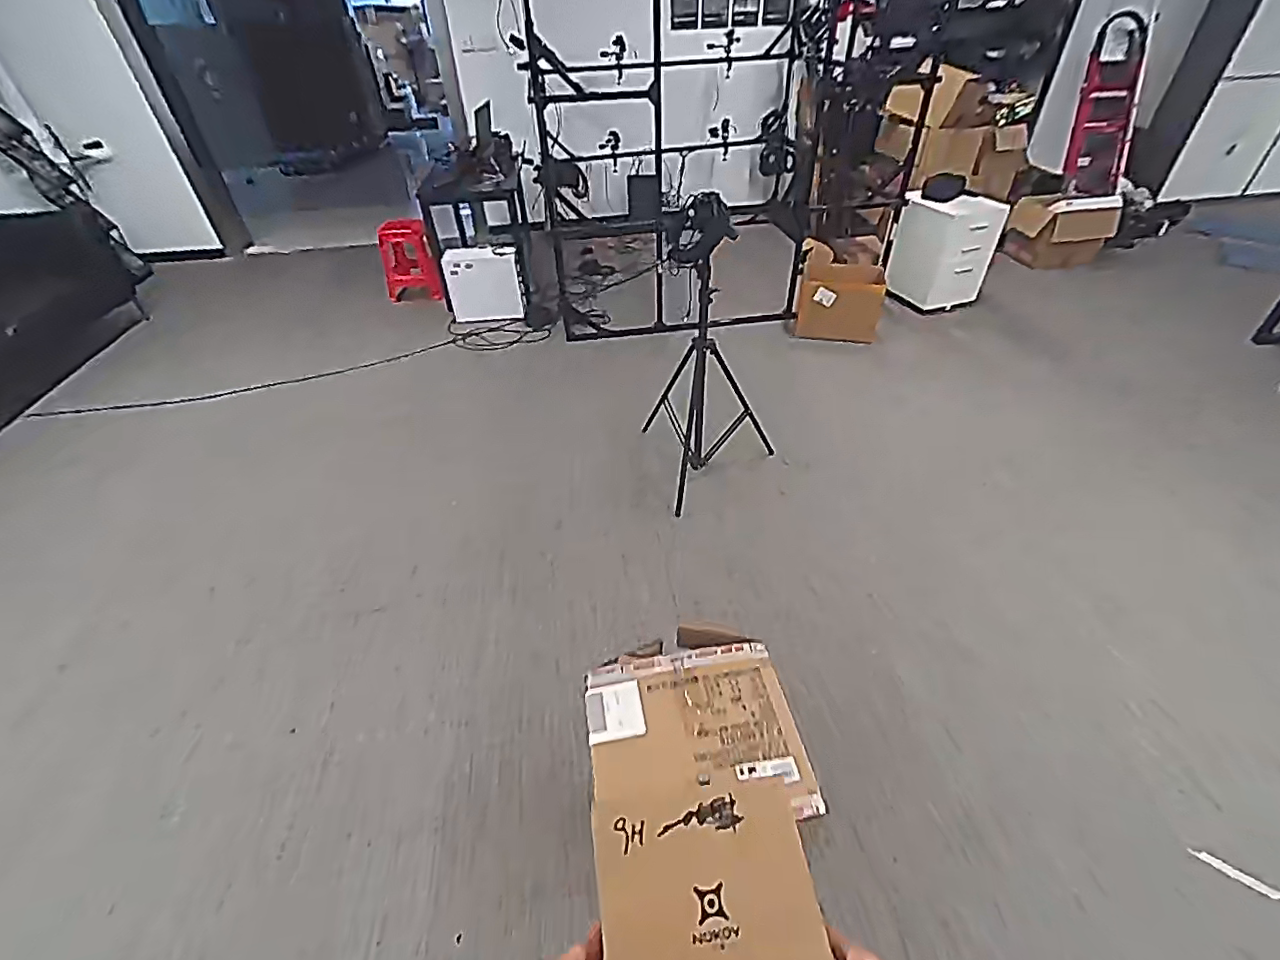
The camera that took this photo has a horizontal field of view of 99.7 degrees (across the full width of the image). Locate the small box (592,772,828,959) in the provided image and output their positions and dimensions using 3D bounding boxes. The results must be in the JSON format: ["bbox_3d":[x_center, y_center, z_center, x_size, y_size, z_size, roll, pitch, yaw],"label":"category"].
[{"bbox_3d":[0.047,0.374,0.469,0.168,0.176,0.179,-3,52,-8],"label":"small box"}]
